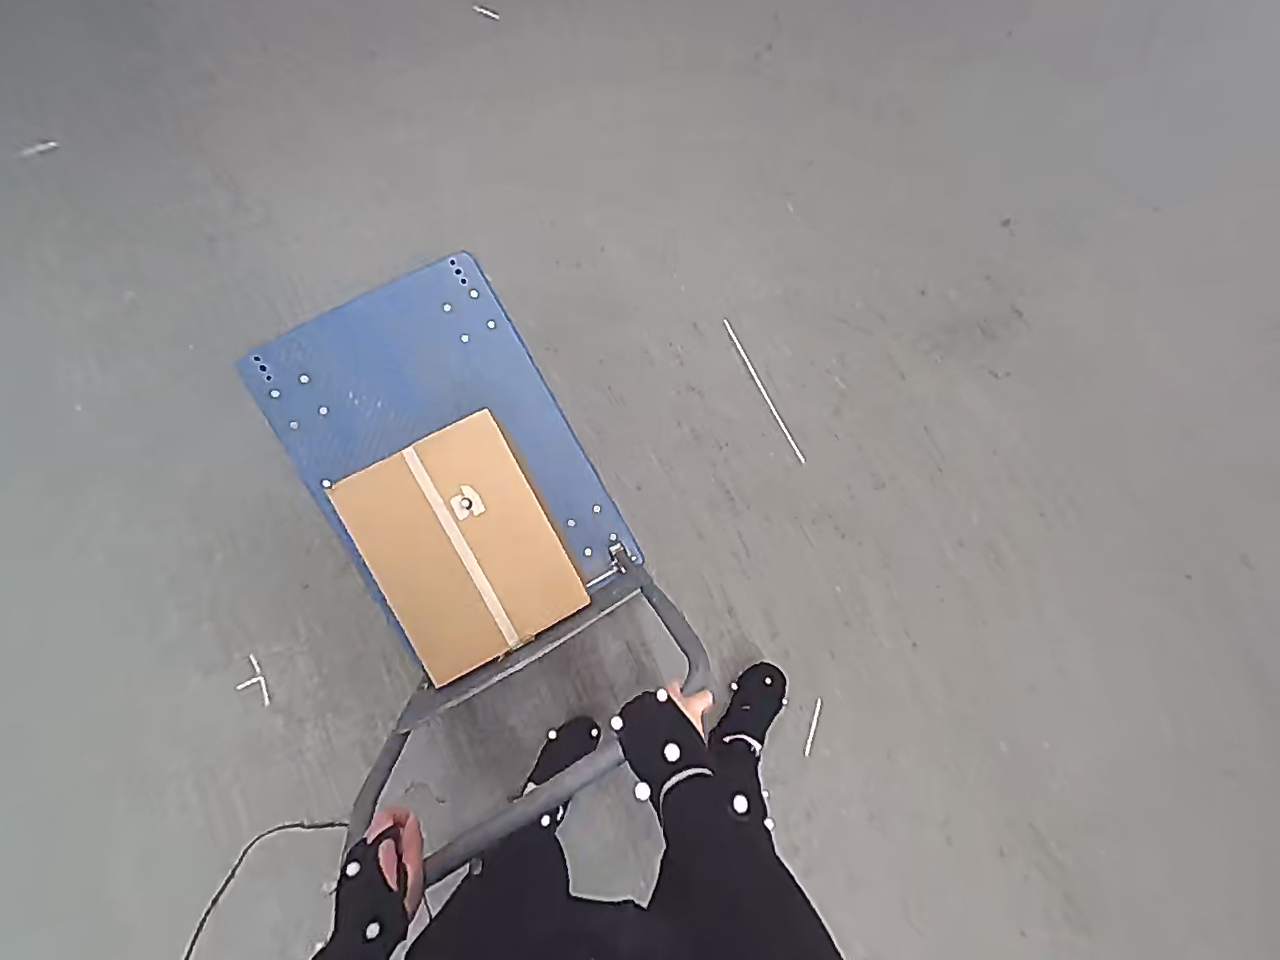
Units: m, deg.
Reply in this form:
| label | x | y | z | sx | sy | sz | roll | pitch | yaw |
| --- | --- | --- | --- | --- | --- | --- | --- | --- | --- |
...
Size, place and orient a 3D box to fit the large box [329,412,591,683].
| label | x | y | z | sx | sy | sz | roll | pitch | yaw |
| --- | --- | --- | --- | --- | --- | --- | --- | --- | --- |
| large box | -0.332 | 0.122 | 1.115 | 0.320 | 0.320 | 0.408 | -30 | 93 | -8 |
